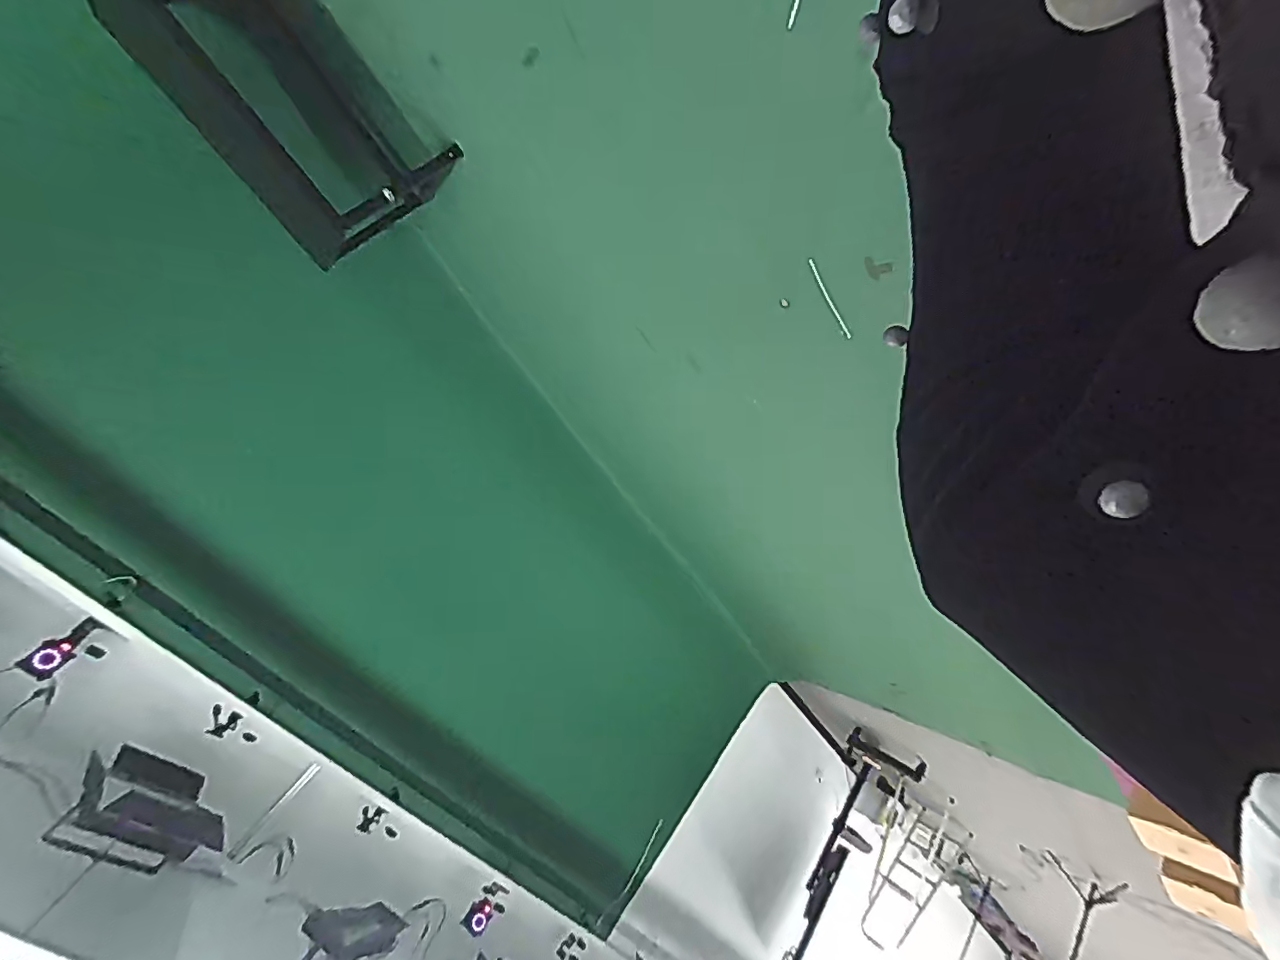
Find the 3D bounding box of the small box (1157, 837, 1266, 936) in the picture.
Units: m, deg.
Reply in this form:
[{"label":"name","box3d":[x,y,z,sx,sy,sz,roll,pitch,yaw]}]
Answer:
[{"label":"small box","box3d":[1.481,1.007,1.399,0.168,0.176,0.179,1,132,57]}]

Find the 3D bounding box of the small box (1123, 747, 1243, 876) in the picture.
[{"label":"small box","box3d":[1.293,0.779,1.285,0.179,0.176,0.168,50,154,-22]}]
